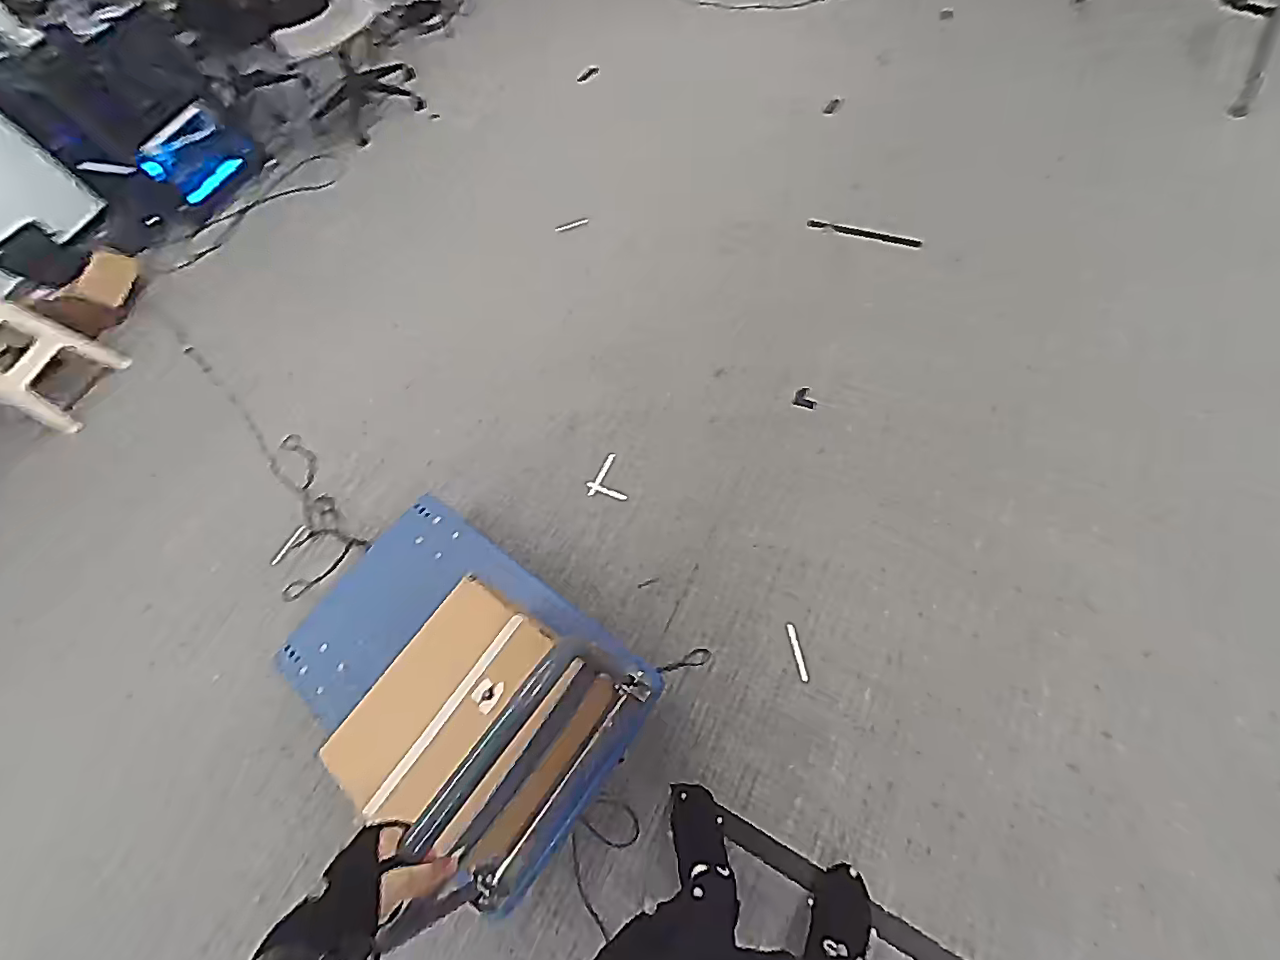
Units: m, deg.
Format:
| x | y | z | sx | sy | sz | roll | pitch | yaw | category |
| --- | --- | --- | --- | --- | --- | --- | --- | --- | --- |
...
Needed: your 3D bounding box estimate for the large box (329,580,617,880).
| x | y | z | sx | sy | sz | roll | pitch | yaw | category |
| --- | --- | --- | --- | --- | --- | --- | --- | --- | --- |
| -0.307 | 0.489 | 1.100 | 0.320 | 0.320 | 0.408 | 30 | 72 | 23 | large box |
